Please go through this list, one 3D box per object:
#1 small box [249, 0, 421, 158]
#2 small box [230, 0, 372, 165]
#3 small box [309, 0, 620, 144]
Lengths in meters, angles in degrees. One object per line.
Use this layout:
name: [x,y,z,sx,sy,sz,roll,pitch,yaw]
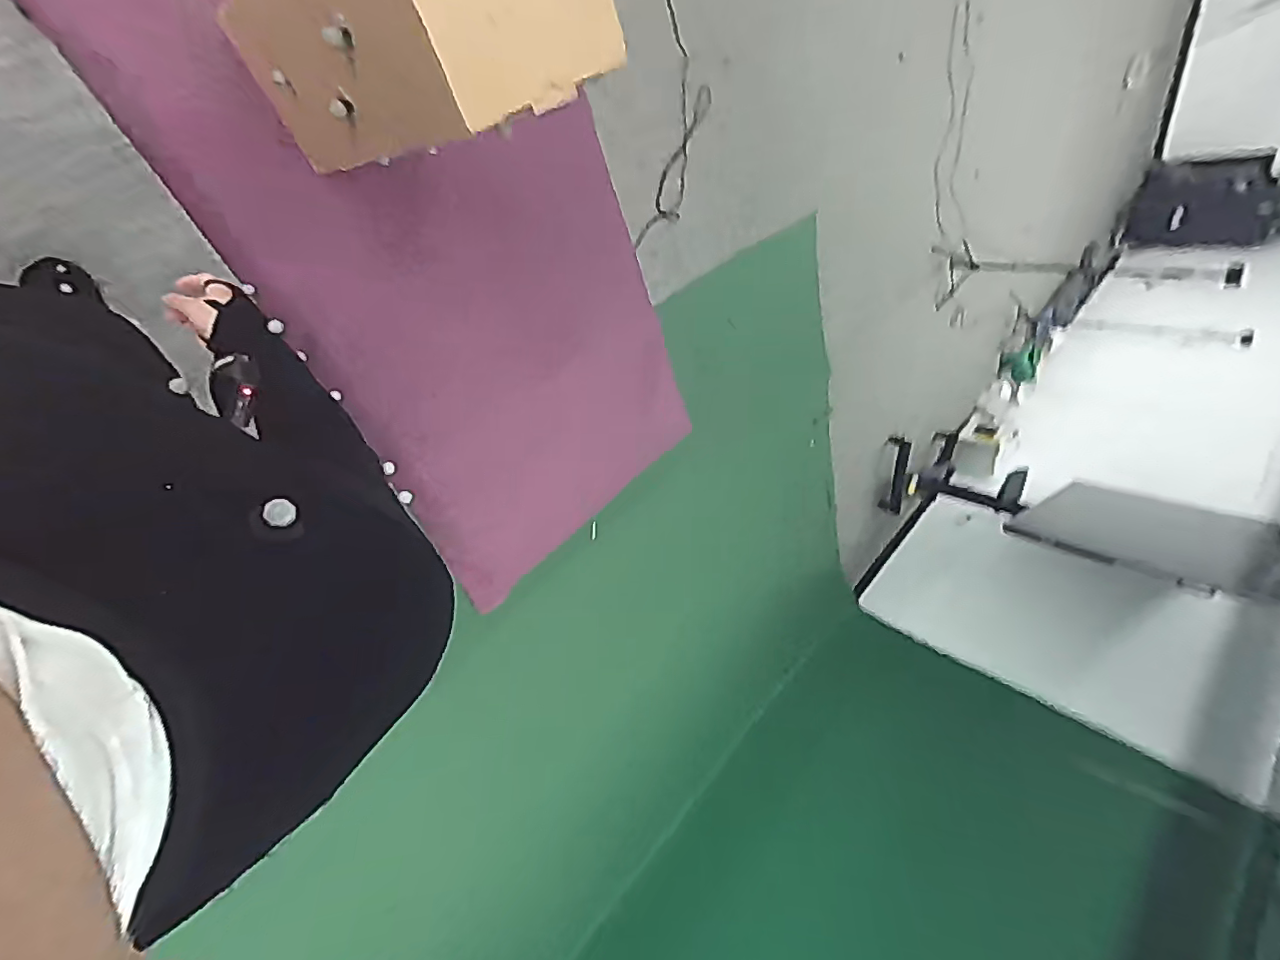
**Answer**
small box: [-0.253,-0.441,0.538,0.168,0.176,0.179,-40,131,-23]
small box: [-0.351,-0.504,0.656,0.168,0.176,0.179,-41,131,-22]
small box: [-0.149,-0.386,0.424,0.168,0.176,0.179,-41,132,-23]
